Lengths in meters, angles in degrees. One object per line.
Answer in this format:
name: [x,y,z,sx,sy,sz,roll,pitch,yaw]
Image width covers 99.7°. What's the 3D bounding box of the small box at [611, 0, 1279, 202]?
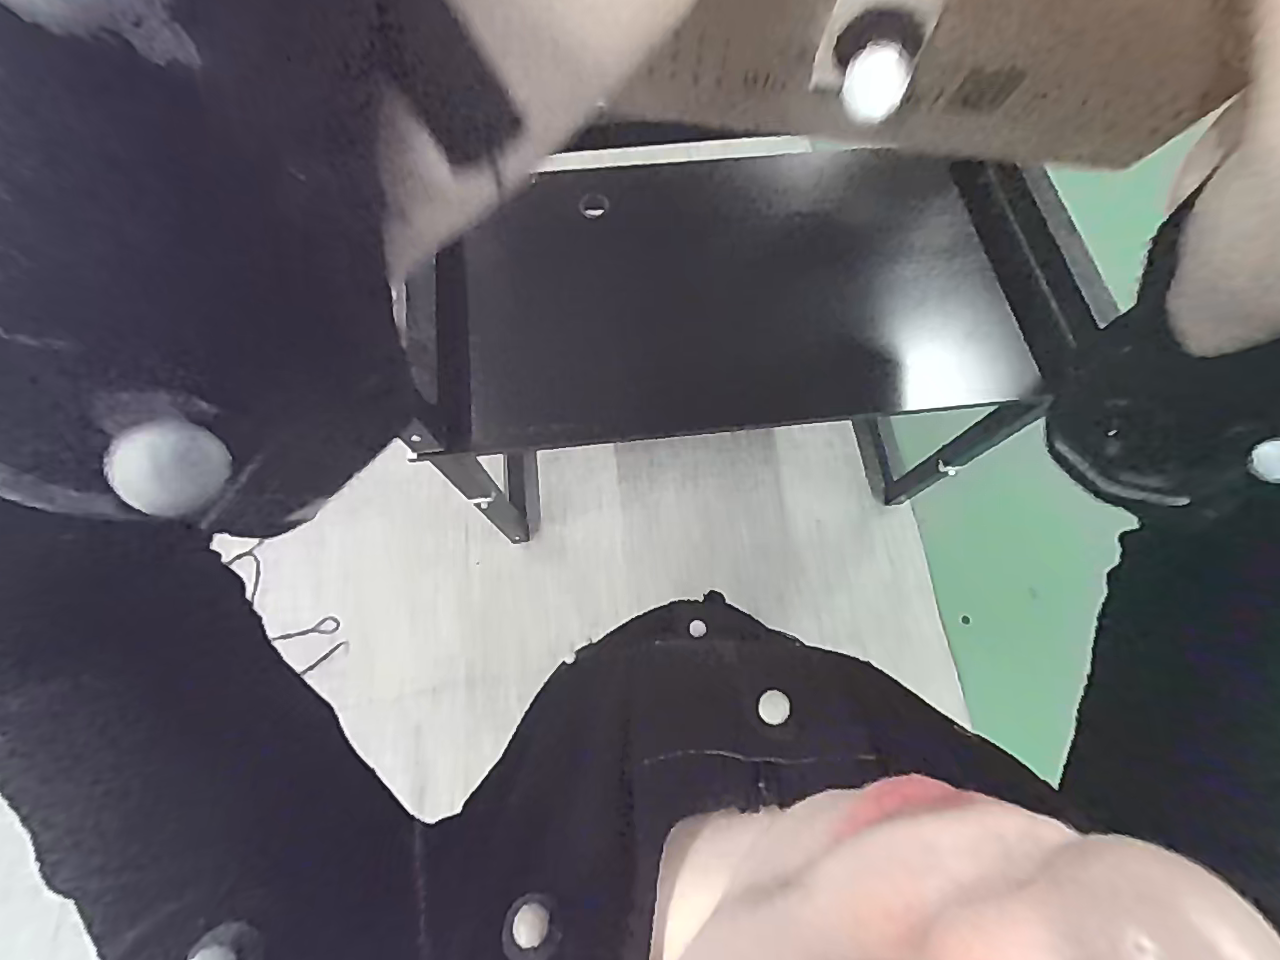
small box: [0.078,-0.189,0.102,0.168,0.176,0.179,5,87,1]
